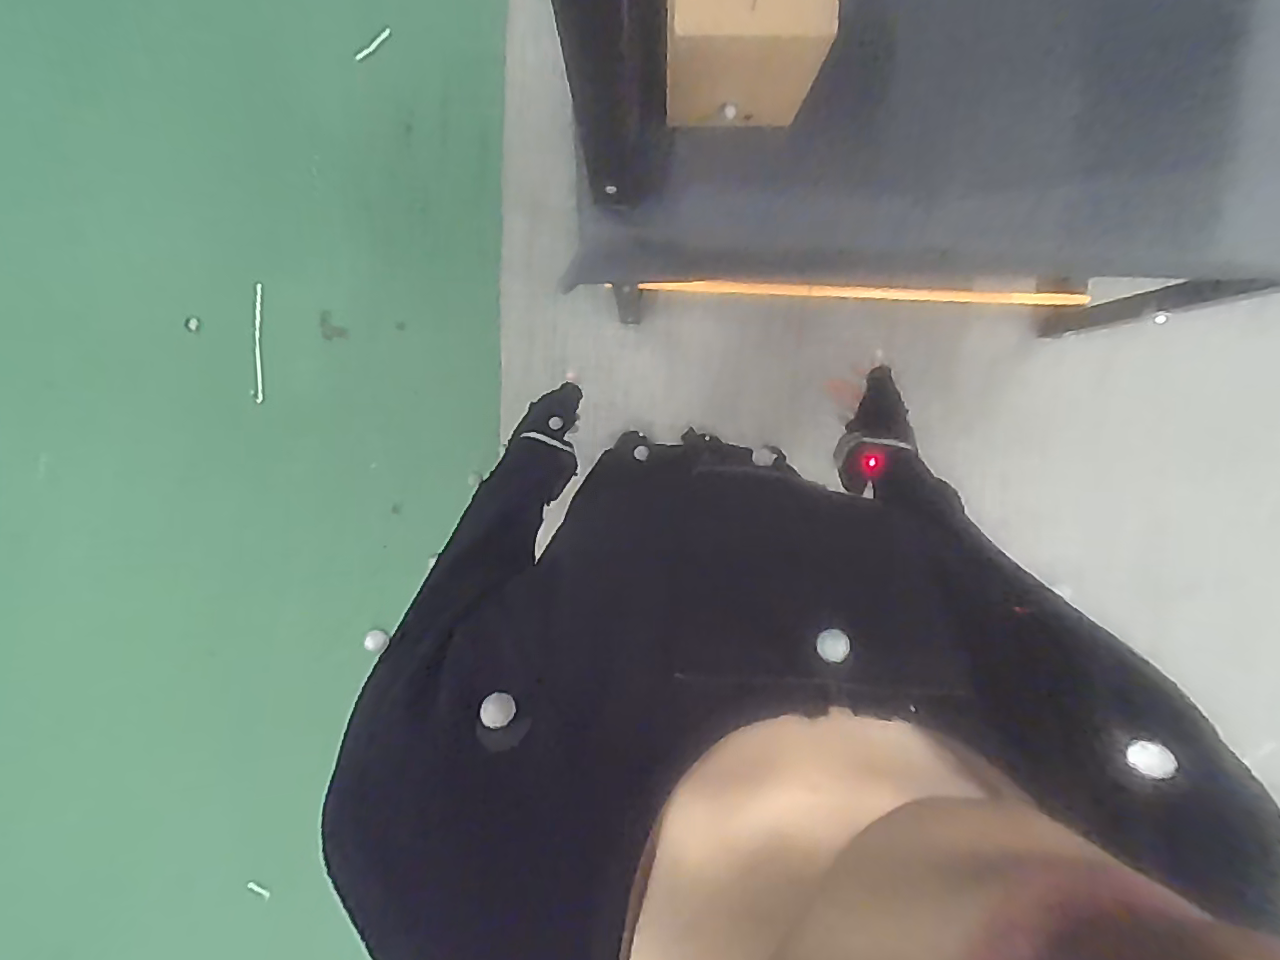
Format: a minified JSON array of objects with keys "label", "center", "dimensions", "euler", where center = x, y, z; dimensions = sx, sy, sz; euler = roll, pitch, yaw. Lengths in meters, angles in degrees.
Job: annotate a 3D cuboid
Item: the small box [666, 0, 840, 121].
[{"label":"small box","center":[0.115,-0.542,0.606],"dimensions":[0.168,0.176,0.179],"euler":[-1,96,1]}]
